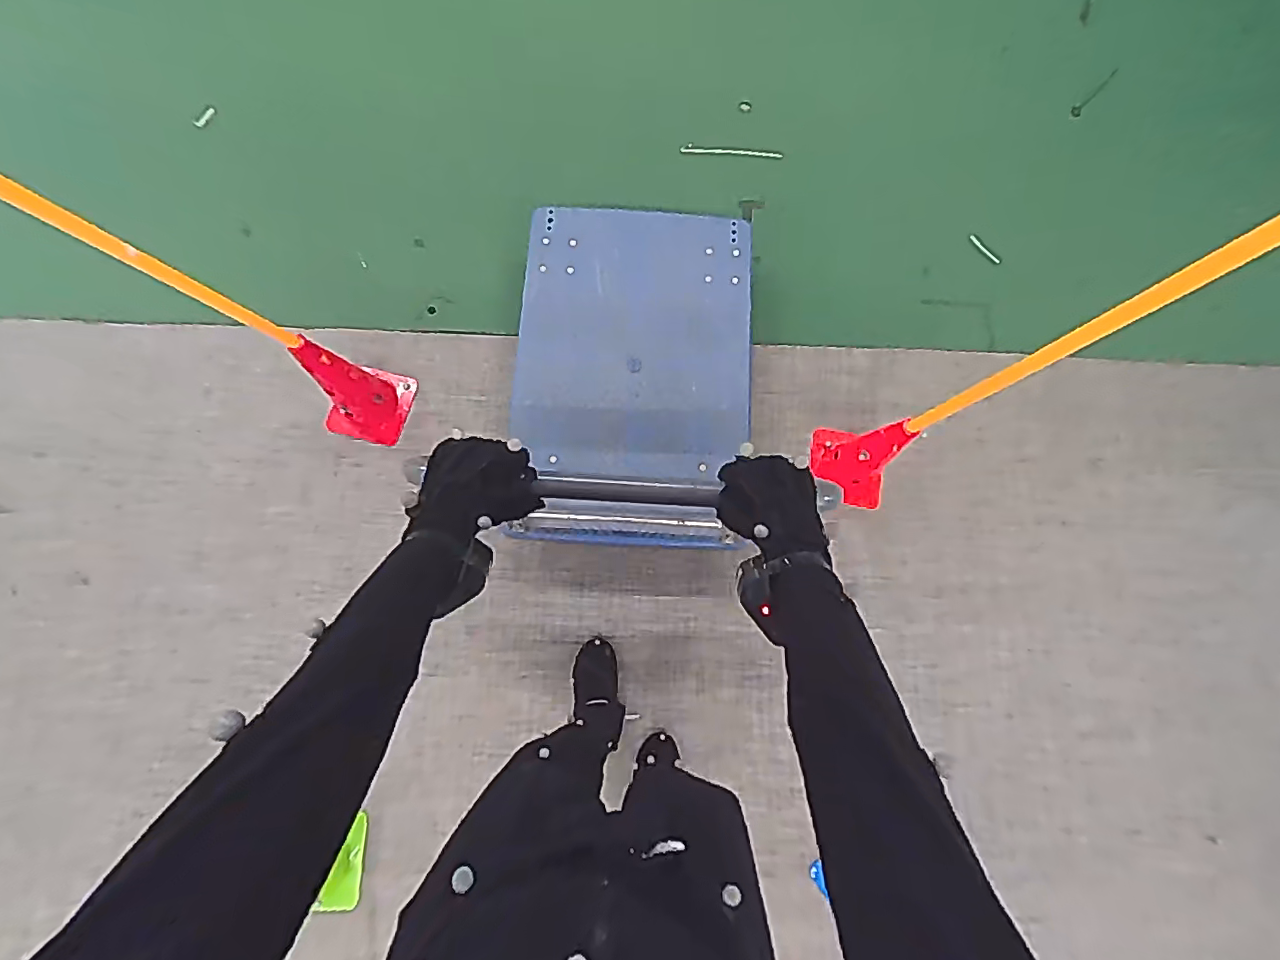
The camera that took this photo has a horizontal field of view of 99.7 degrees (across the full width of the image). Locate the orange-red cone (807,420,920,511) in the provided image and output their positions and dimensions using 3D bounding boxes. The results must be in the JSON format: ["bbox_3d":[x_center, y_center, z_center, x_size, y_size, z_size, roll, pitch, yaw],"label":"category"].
[{"bbox_3d":[0.563,-0.065,1.293,0.198,0.360,0.199,12,77,2],"label":"orange-red cone"}]
